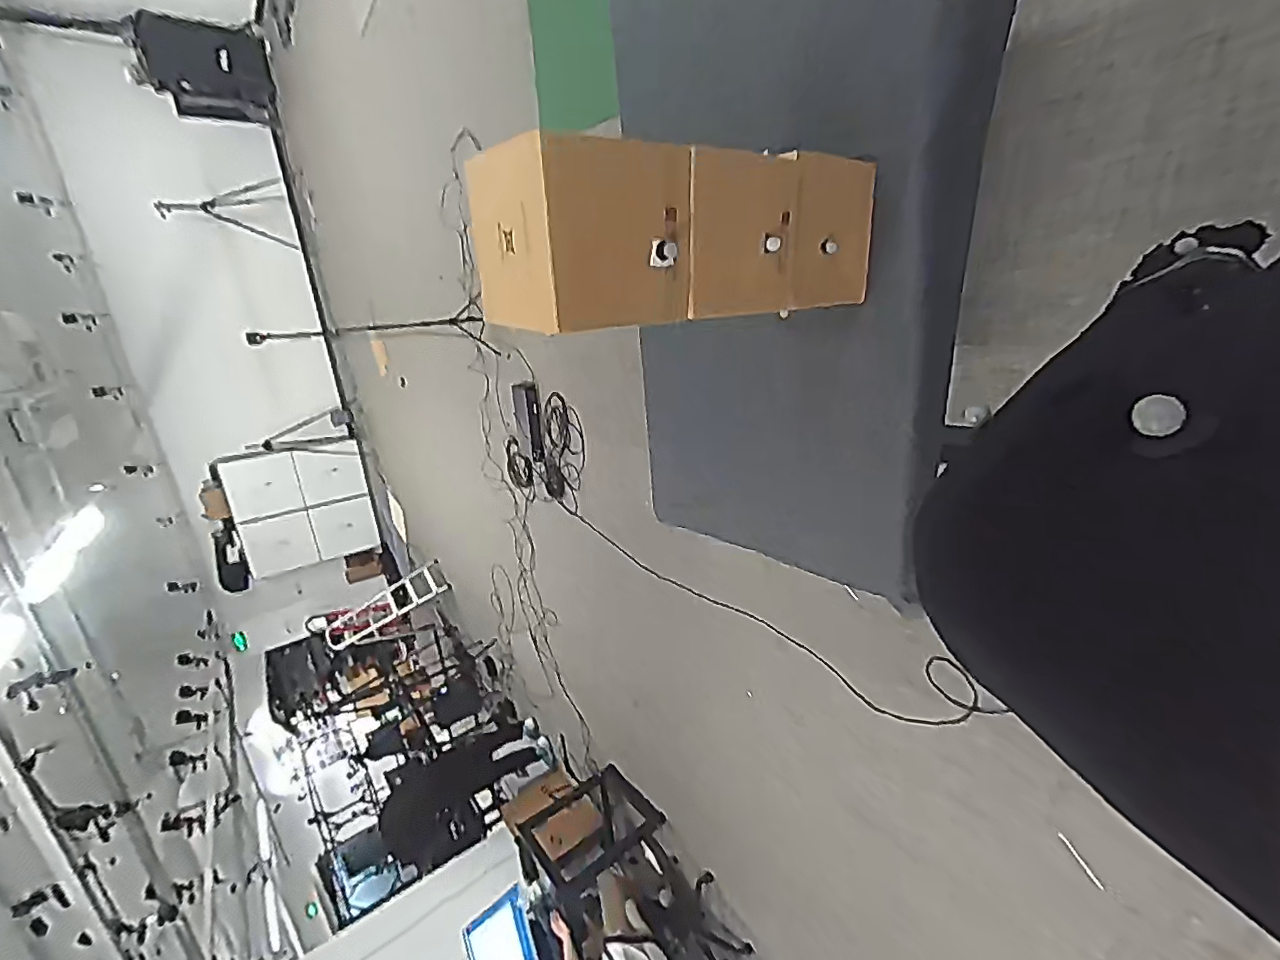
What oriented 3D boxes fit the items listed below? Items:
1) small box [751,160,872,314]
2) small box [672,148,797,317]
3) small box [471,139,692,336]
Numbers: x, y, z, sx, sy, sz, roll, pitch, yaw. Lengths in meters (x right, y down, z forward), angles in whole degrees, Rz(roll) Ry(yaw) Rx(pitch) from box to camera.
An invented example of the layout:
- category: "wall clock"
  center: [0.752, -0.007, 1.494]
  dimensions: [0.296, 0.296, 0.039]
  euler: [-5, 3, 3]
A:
- category: "small box"
  center: [0.204, -0.334, 0.761]
  dimensions: [0.168, 0.176, 0.179]
  euler: [22, 122, 50]
- category: "small box"
  center: [0.068, -0.295, 0.675]
  dimensions: [0.179, 0.176, 0.168]
  euler: [23, 122, 51]
- category: "small box"
  center: [-0.063, -0.256, 0.589]
  dimensions: [0.179, 0.176, 0.168]
  euler: [24, 125, 48]
